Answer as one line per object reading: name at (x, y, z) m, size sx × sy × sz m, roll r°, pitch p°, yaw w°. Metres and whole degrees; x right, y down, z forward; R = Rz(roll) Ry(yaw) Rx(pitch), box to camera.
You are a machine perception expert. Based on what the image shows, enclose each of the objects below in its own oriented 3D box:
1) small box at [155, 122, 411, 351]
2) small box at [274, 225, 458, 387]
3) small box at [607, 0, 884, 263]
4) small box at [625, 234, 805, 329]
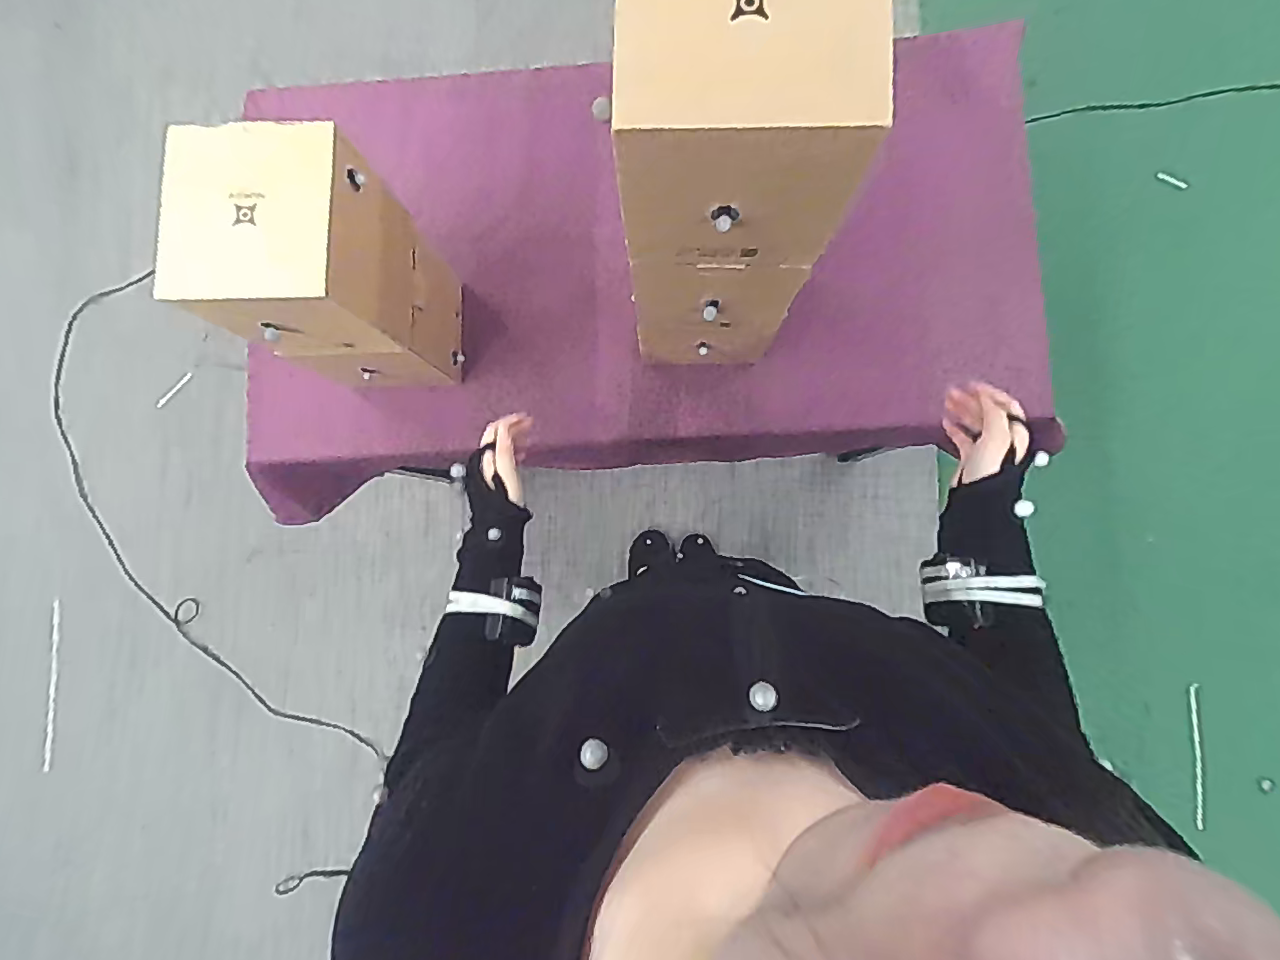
small box at (-0.367, -0.246, 0.587) m, size 0.168 × 0.176 × 0.179 m, roll 0°, pitch 84°, yaw 2°
small box at (-0.364, -0.230, 0.749) m, size 0.179 × 0.176 × 0.168 m, roll -1°, pitch 85°, yaw 2°
small box at (0.069, -0.283, 0.408) m, size 0.168 × 0.176 × 0.179 m, roll 2°, pitch 85°, yaw 2°
small box at (0.077, -0.271, 0.573) m, size 0.168 × 0.176 × 0.179 m, roll 3°, pitch 86°, yaw 2°
